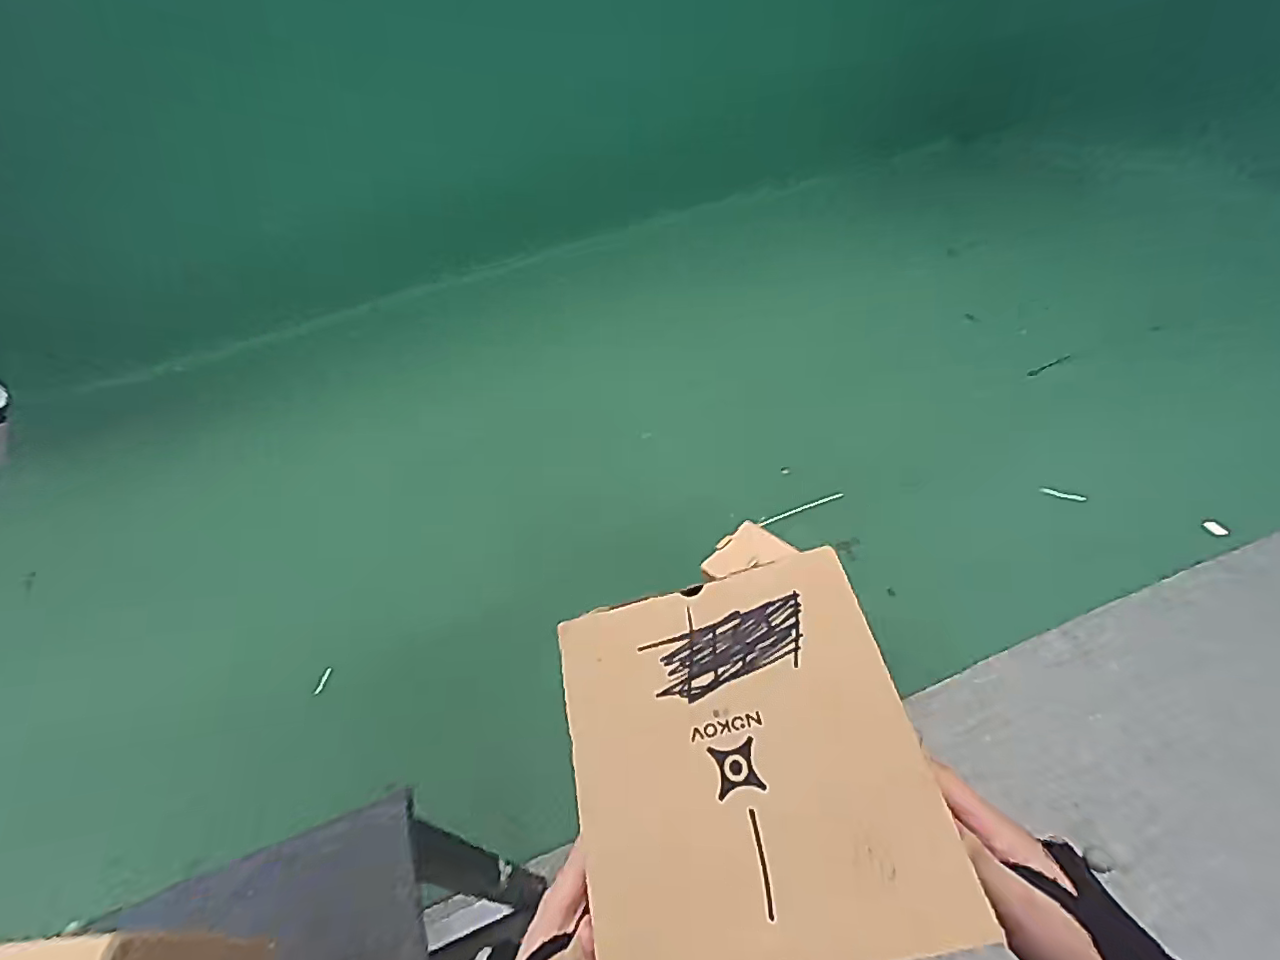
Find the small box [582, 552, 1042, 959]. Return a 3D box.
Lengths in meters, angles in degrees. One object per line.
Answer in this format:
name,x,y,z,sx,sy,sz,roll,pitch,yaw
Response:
small box,0.077,0.170,0.320,0.168,0.176,0.179,-17,56,8

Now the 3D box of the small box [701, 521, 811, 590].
small box,0.256,0.232,1.210,0.168,0.176,0.179,-40,53,-23

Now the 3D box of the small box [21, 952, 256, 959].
small box,-0.416,0.439,0.370,0.179,0.176,0.168,-11,46,5
